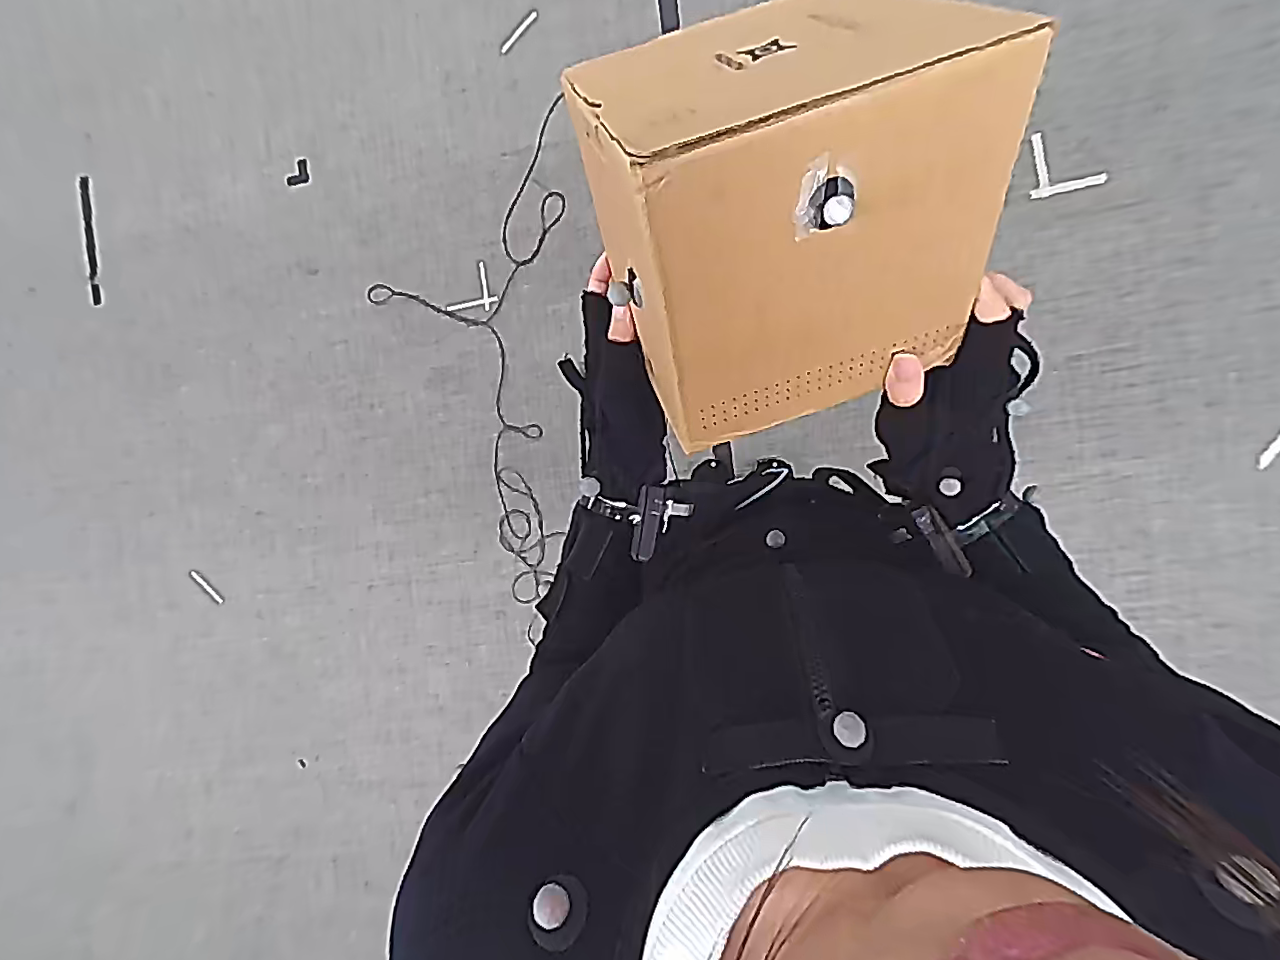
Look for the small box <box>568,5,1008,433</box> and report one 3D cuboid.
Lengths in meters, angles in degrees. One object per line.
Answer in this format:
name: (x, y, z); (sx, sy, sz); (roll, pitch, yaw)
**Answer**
small box: (0.073, -0.155, 0.336); (0.179, 0.176, 0.168); (-19, 48, -1)
